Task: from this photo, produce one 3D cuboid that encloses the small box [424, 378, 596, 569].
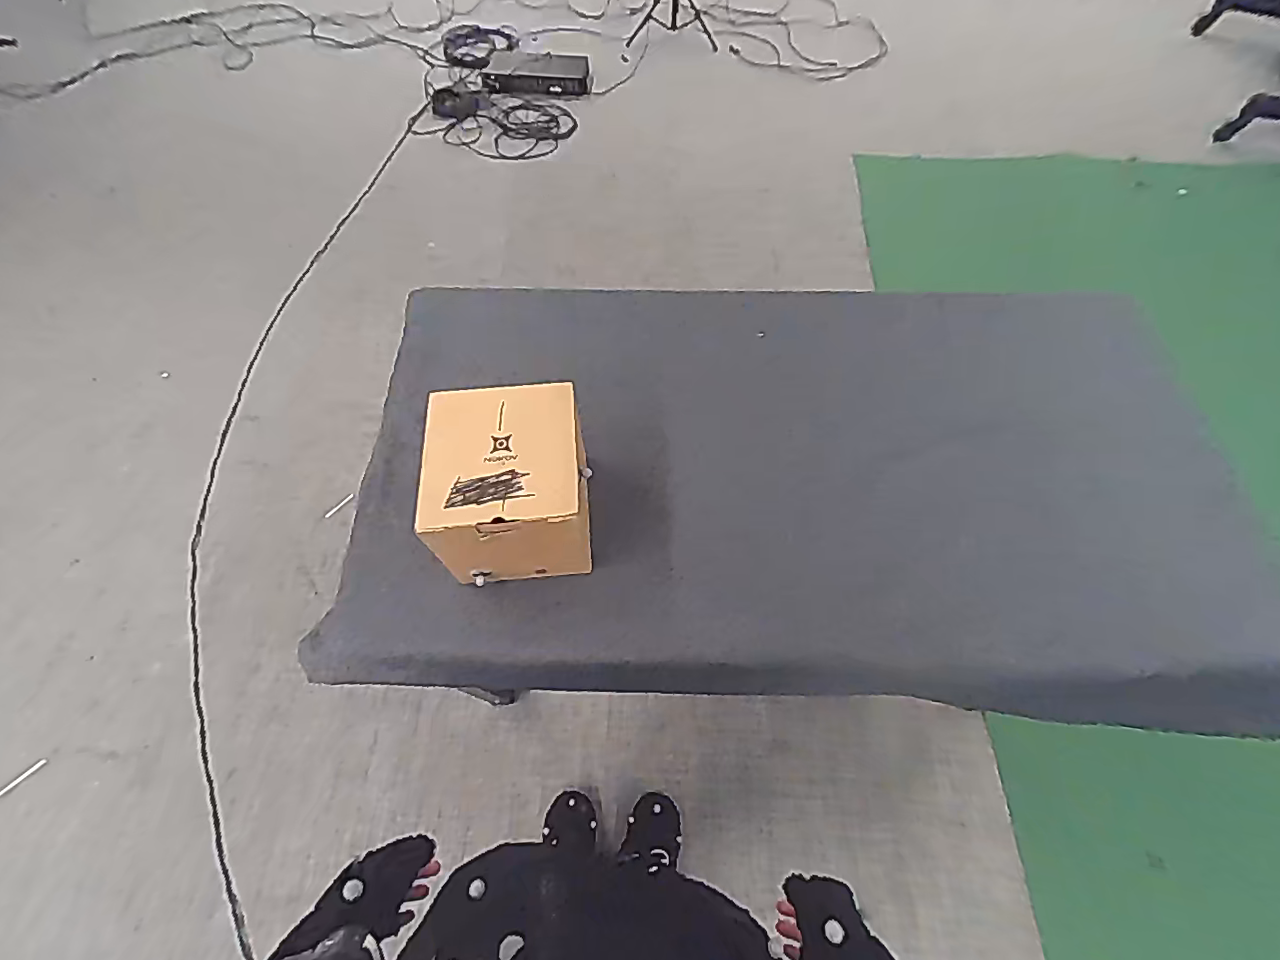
[{"bbox_3d":[-0.145,0.001,0.657,0.168,0.176,0.179,-5,61,-2],"label":"small box"}]
